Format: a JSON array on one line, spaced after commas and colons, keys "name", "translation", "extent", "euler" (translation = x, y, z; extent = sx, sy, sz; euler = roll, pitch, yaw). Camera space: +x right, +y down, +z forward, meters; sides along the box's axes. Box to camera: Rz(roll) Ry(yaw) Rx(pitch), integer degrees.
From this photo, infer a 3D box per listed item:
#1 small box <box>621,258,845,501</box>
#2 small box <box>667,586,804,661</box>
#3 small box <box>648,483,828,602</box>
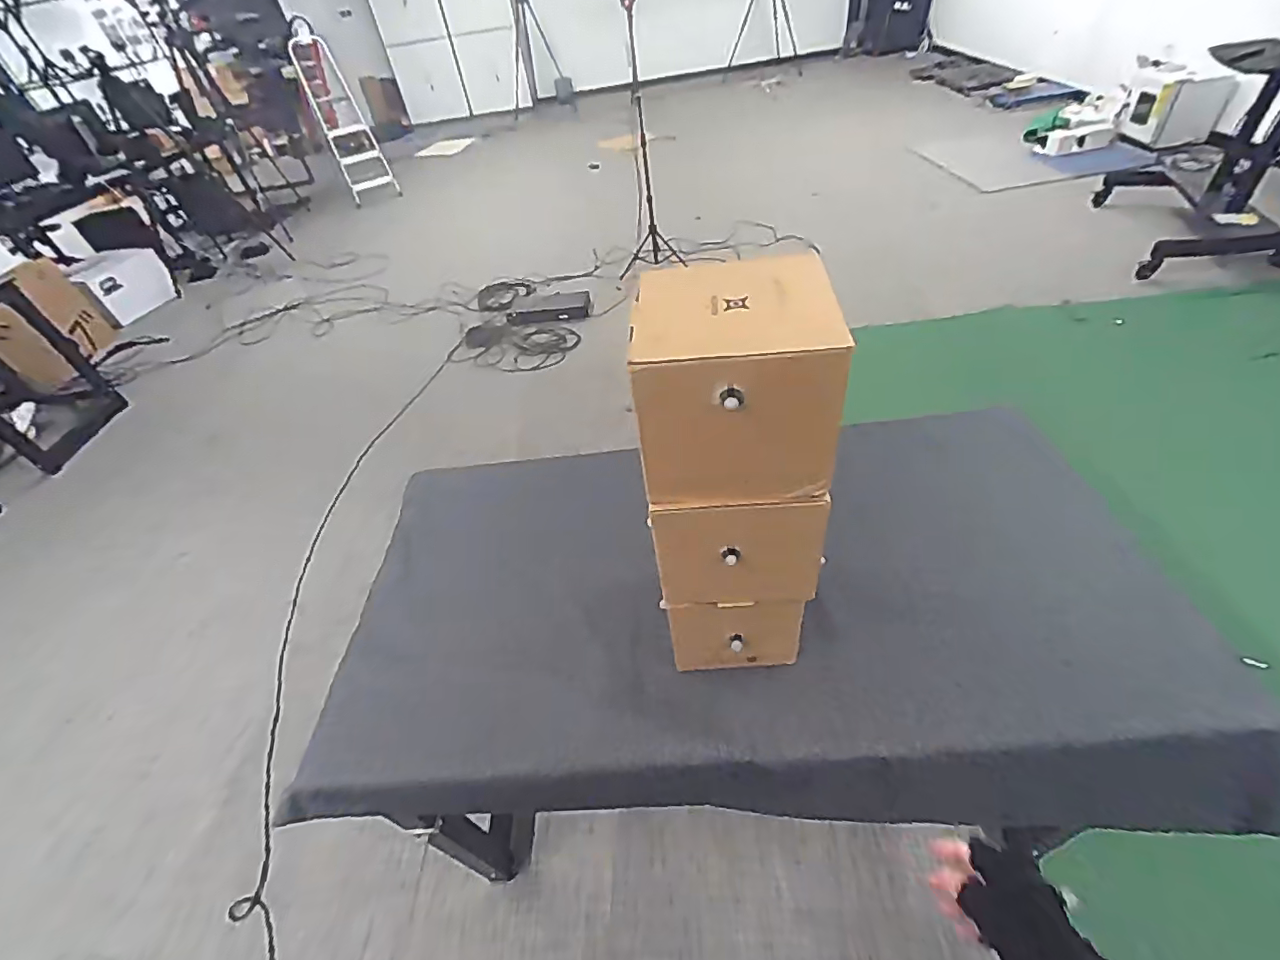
[{"name": "small box", "translation": [0.087, -0.093, 0.527], "extent": [0.179, 0.176, 0.168], "euler": [-3, 45, 8]}, {"name": "small box", "translation": [0.126, 0.139, 0.754], "extent": [0.168, 0.176, 0.179], "euler": [-7, 44, 5]}, {"name": "small box", "translation": [0.108, 0.027, 0.633], "extent": [0.179, 0.176, 0.168], "euler": [-5, 44, 8]}]
